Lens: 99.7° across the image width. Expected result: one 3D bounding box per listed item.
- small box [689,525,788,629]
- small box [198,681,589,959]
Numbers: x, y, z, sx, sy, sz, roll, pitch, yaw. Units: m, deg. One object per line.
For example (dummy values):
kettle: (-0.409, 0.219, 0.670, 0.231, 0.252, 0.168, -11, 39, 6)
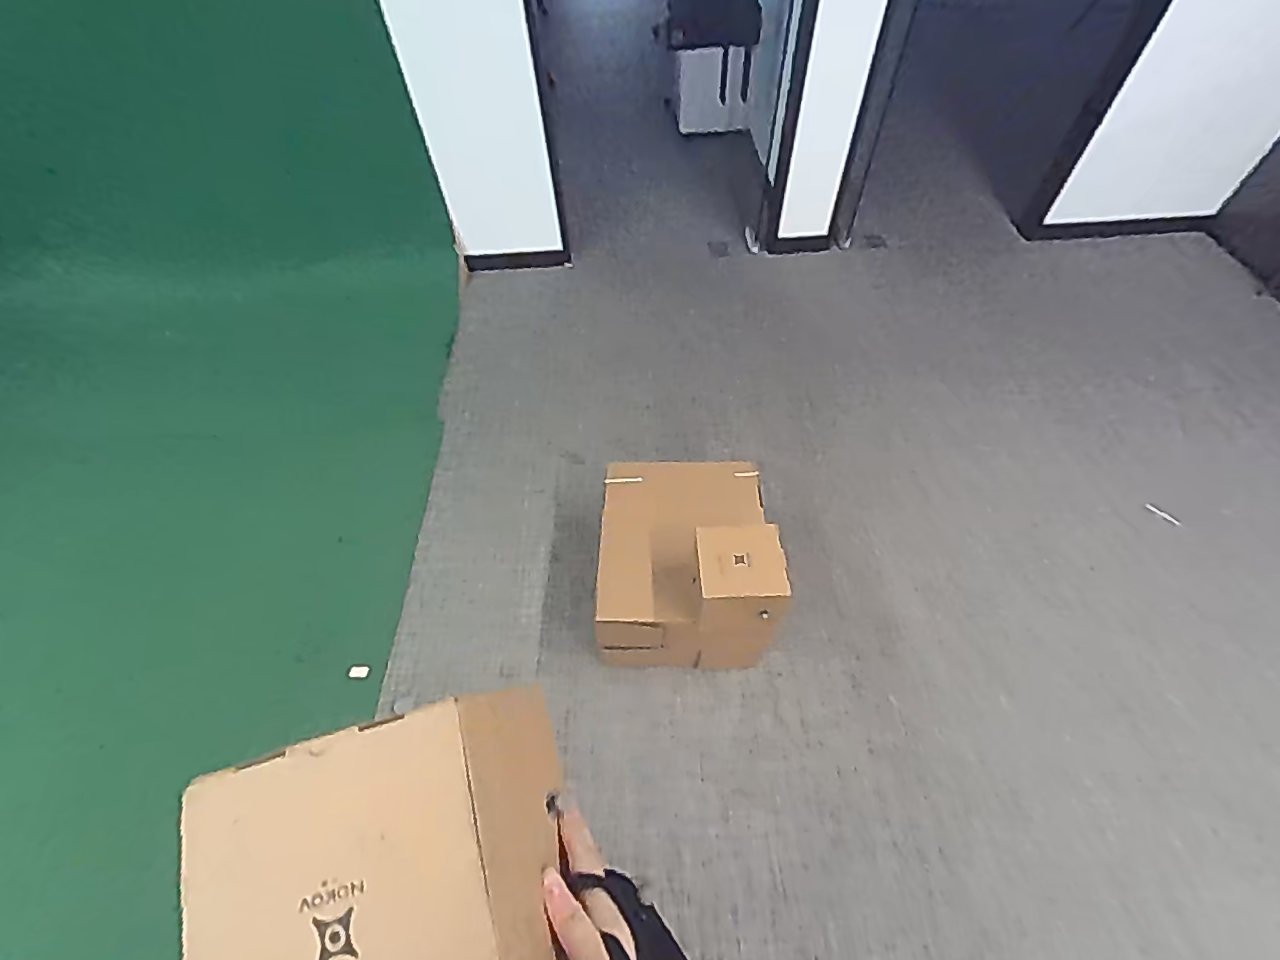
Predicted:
small box: (0.201, 0.210, 1.154, 0.179, 0.176, 0.168, -2, 53, 0)
small box: (-0.143, 0.244, 0.359, 0.168, 0.176, 0.179, -18, 70, 1)
